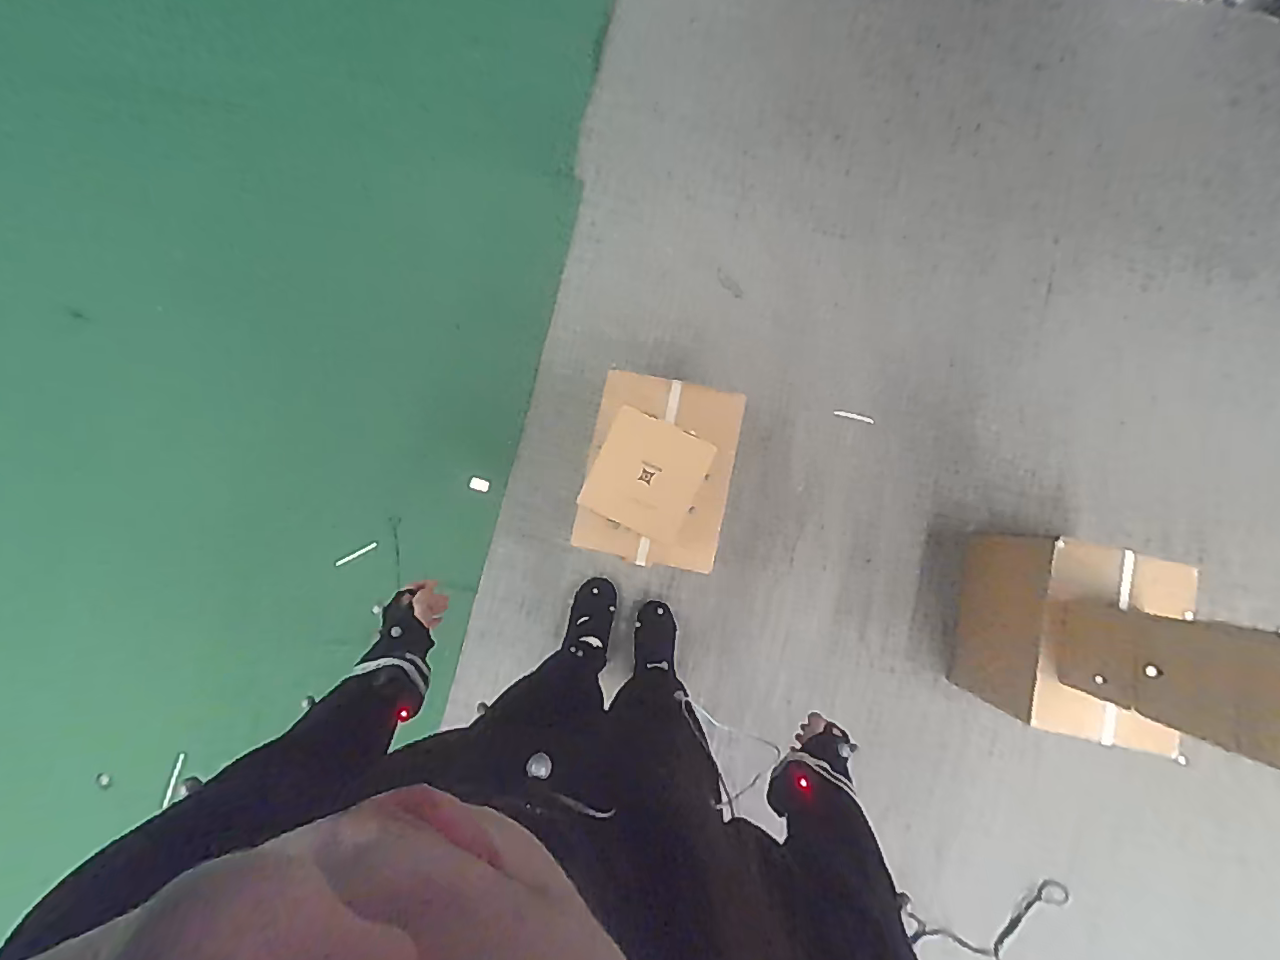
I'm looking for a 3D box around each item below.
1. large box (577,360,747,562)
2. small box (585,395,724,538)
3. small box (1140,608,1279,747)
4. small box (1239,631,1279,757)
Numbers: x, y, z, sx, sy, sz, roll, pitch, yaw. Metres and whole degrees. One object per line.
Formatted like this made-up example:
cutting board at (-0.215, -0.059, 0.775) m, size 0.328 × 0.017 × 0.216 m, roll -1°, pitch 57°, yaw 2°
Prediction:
large box at (0.054, -0.031, 1.324) m, size 0.320 × 0.320 × 0.408 m, roll 12°, pitch 86°, yaw 2°
small box at (0.024, -0.018, 0.917) m, size 0.168 × 0.176 × 0.179 m, roll 26°, pitch 89°, yaw 4°
small box at (0.974, 0.318, 0.886) m, size 0.168 × 0.176 × 0.179 m, roll 4°, pitch 87°, yaw 2°
small box at (0.968, 0.306, 0.721) m, size 0.168 × 0.176 × 0.179 m, roll 3°, pitch 87°, yaw 3°
